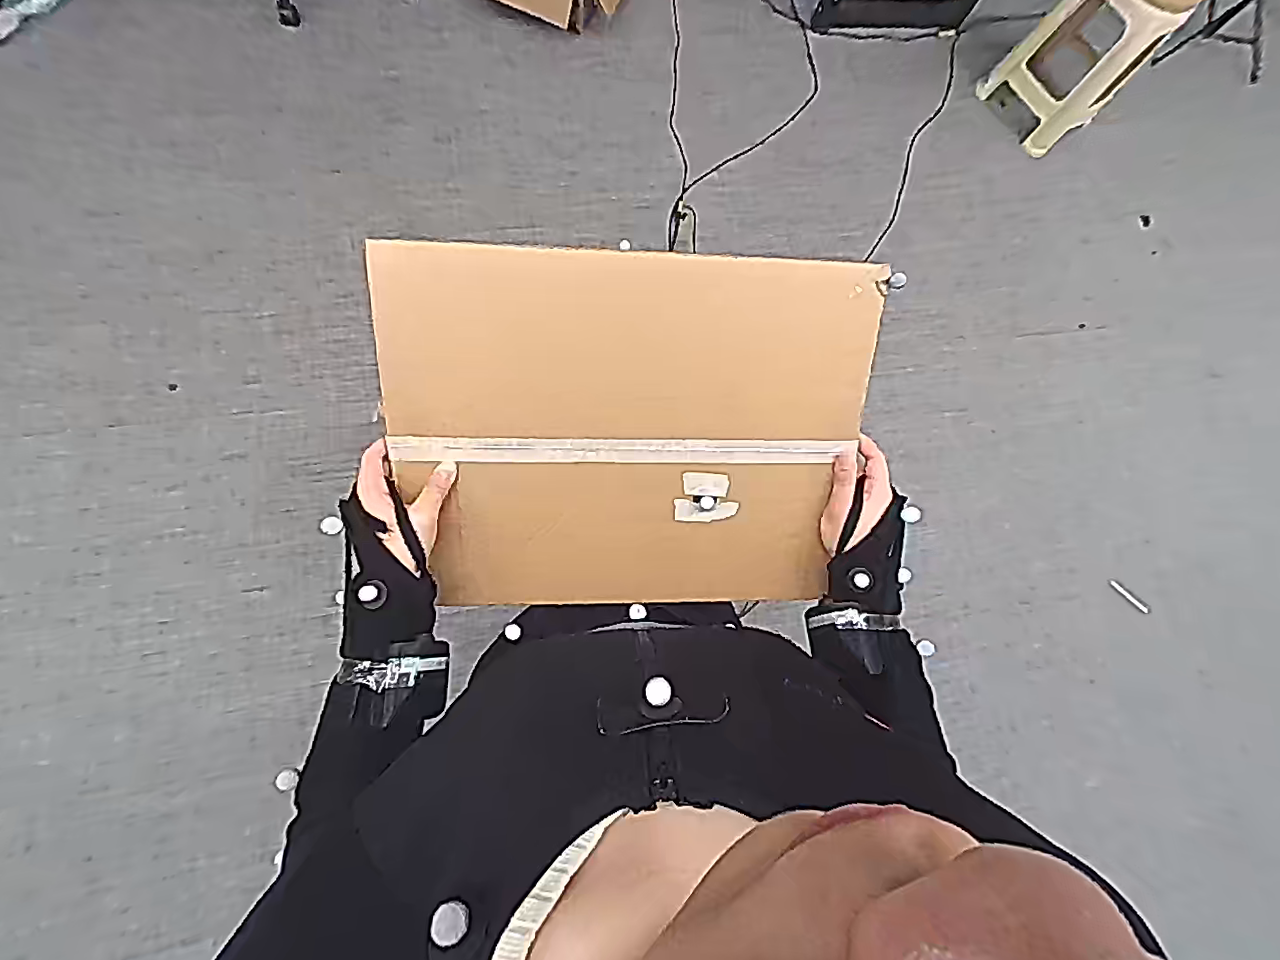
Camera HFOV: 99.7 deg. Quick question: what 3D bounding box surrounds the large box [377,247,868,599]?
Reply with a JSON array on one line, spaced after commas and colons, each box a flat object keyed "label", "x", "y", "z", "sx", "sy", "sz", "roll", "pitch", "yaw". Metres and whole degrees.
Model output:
[{"label": "large box", "x": -0.025, "y": -0.087, "z": 0.620, "sx": 0.408, "sy": 0.320, "sz": 0.320, "roll": -1, "pitch": 112, "yaw": -7}]
